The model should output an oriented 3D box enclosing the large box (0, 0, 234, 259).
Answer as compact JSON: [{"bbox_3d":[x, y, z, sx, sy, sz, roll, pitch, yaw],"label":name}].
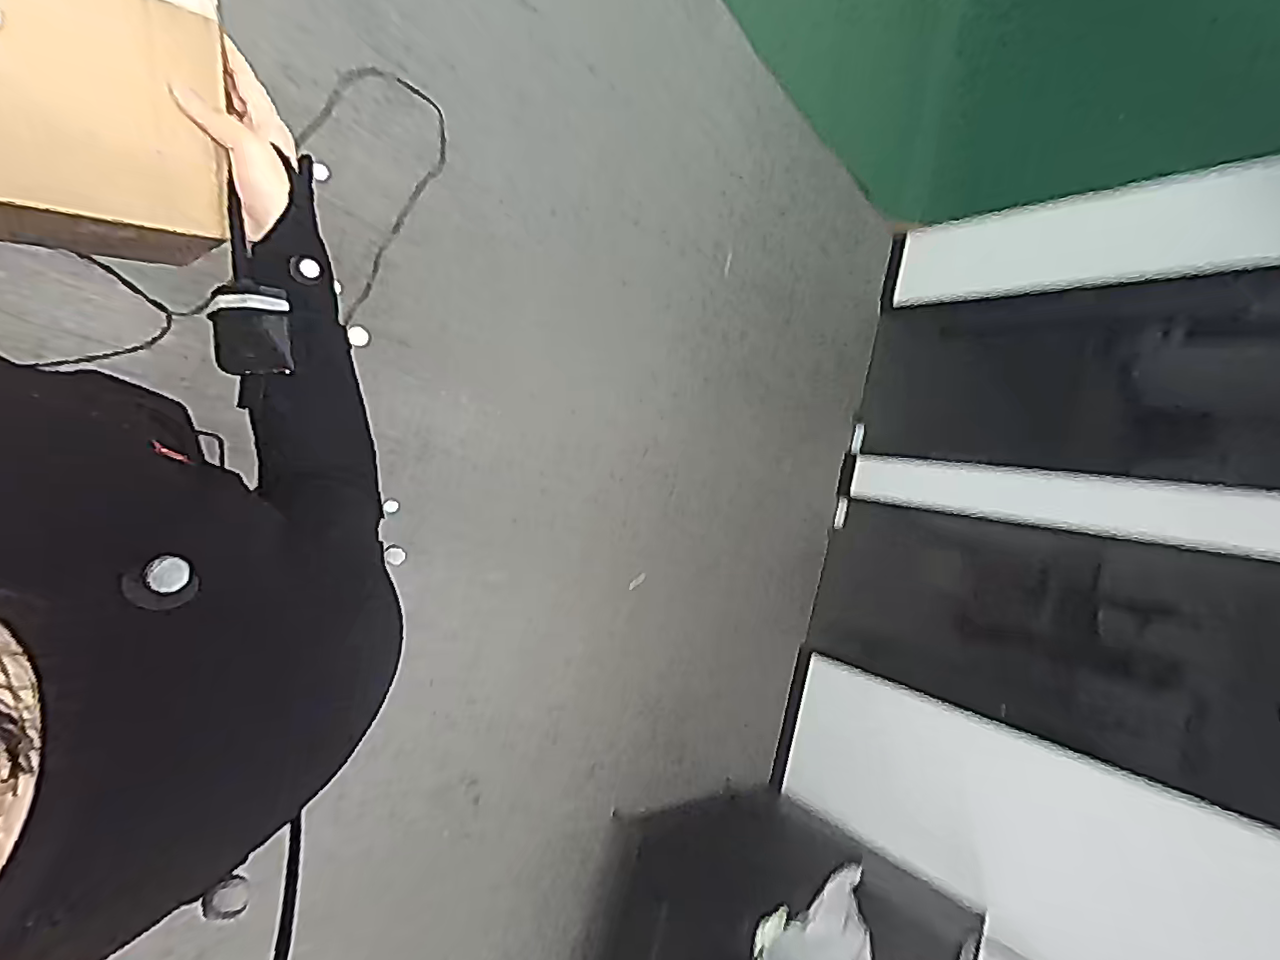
[{"bbox_3d":[-0.553,-0.352,0.354,0.408,0.320,0.320,-7,108,-45],"label":"large box"}]
